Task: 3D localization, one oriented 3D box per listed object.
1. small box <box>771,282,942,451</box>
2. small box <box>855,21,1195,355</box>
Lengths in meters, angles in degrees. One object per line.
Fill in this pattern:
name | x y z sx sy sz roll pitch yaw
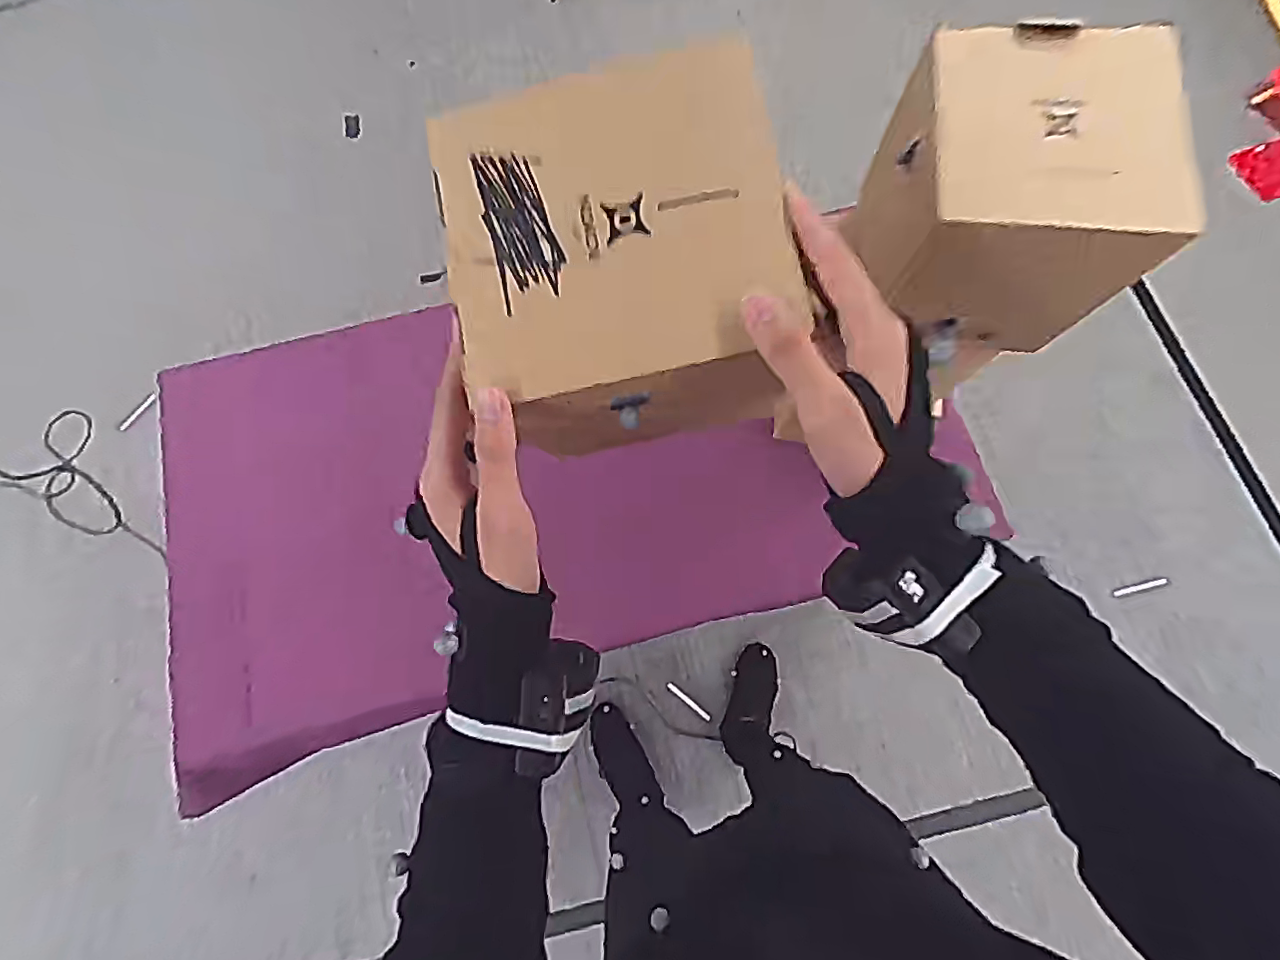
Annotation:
small box | 0.300 -0.150 0.769 0.179 0.176 0.168 10 76 4
small box | 0.289 -0.227 0.450 0.168 0.176 0.179 6 77 5
